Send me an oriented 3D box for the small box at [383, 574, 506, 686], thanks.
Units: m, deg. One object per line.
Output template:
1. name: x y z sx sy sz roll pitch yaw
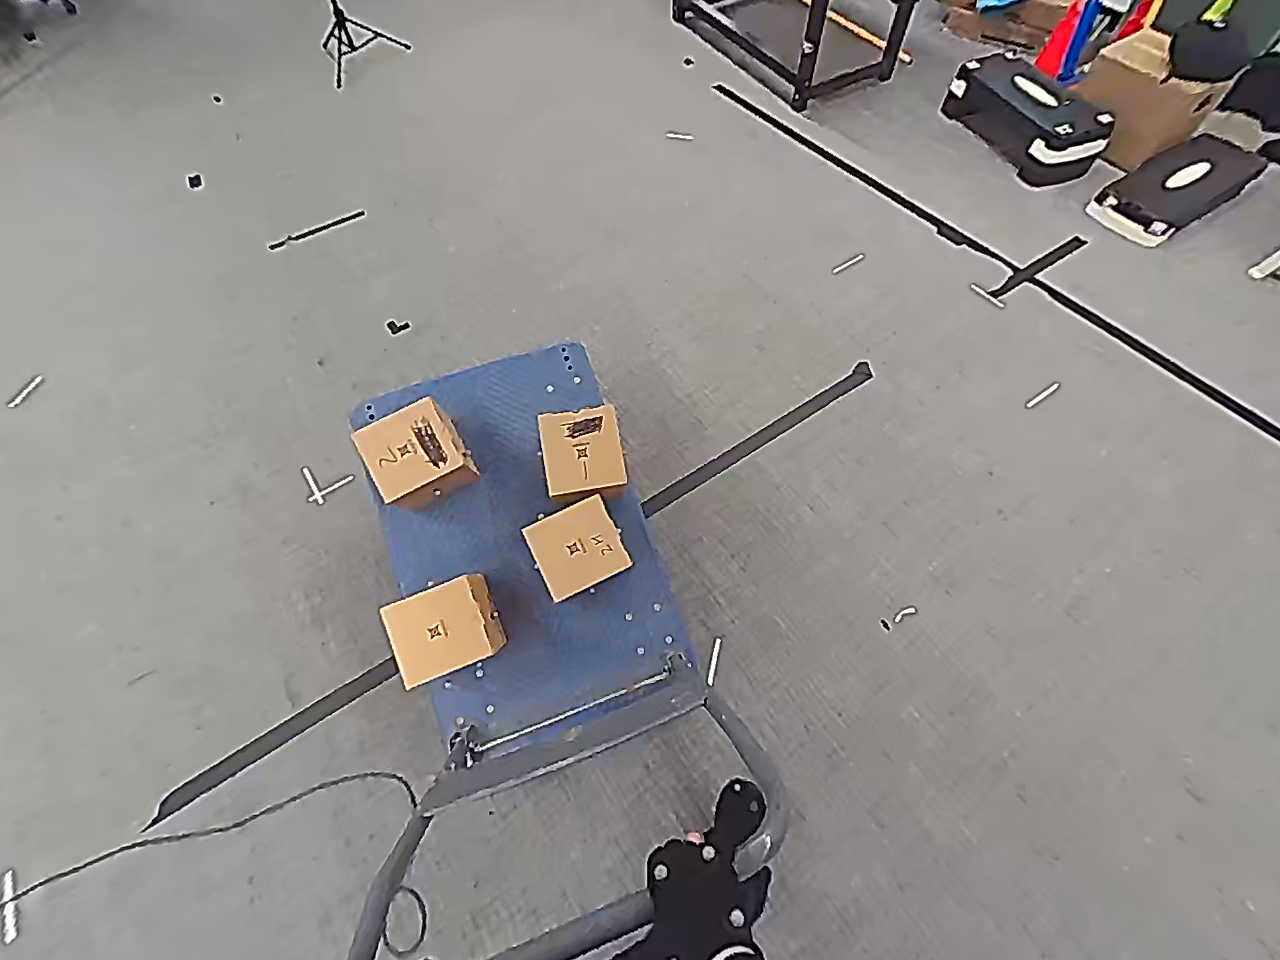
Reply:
1. small box: -0.398 0.306 1.126 0.179 0.176 0.168 -21 82 -10

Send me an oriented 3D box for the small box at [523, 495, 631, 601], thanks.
1. small box: -0.131 0.150 1.174 0.179 0.176 0.168 -25 83 -8

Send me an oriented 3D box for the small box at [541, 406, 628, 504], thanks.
1. small box: -0.124 -0.051 1.209 0.168 0.176 0.179 -9 82 -6
